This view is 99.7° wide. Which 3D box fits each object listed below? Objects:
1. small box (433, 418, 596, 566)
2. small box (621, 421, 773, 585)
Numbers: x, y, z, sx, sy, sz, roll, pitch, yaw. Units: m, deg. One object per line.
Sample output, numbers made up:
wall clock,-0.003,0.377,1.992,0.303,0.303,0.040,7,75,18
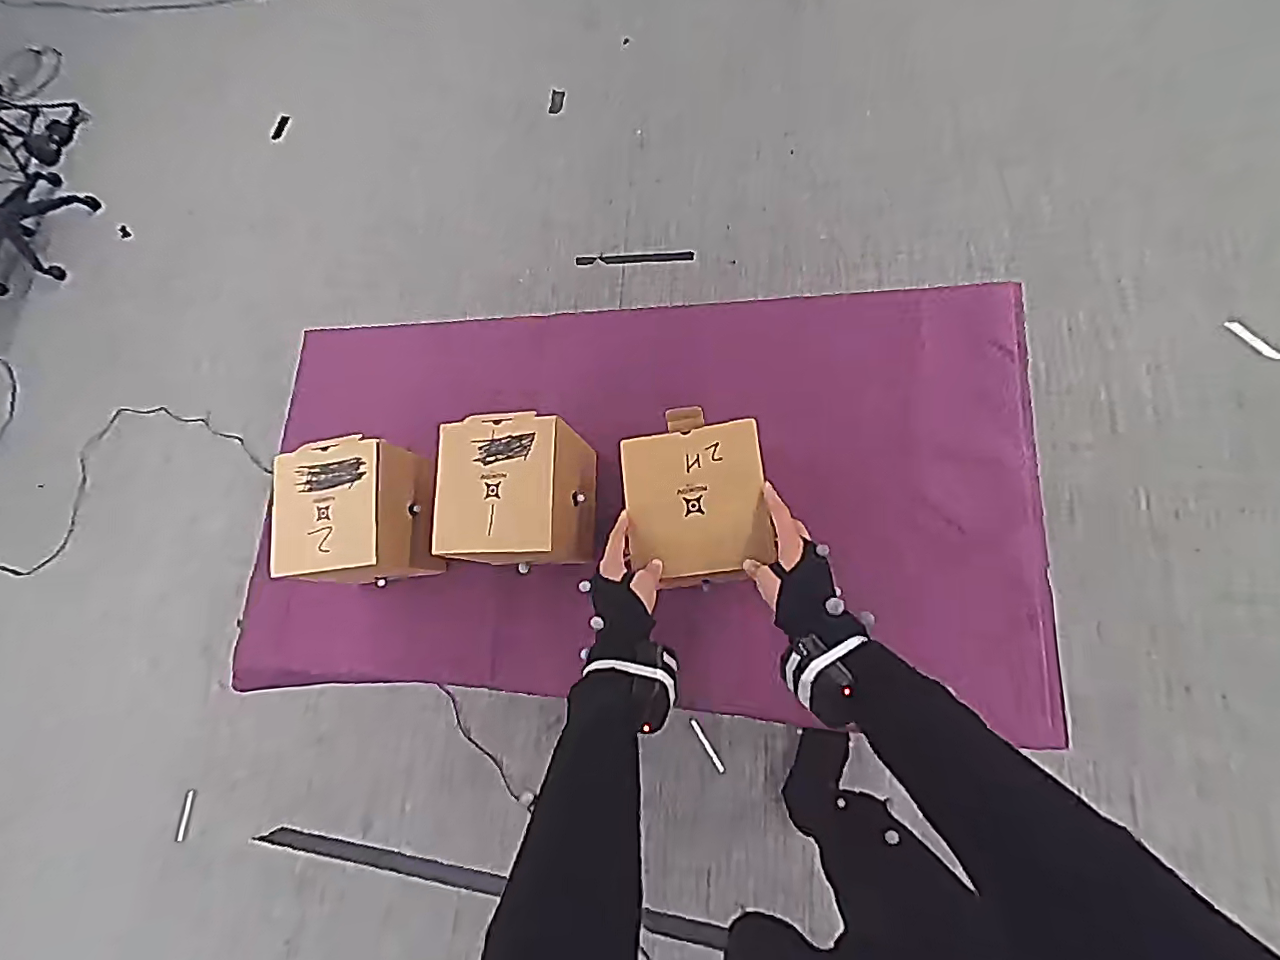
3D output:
small box,-0.166,0.026,0.766,0.168,0.176,0.179,-3,76,13
small box,0.080,0.042,0.704,0.168,0.176,0.179,-8,74,11
